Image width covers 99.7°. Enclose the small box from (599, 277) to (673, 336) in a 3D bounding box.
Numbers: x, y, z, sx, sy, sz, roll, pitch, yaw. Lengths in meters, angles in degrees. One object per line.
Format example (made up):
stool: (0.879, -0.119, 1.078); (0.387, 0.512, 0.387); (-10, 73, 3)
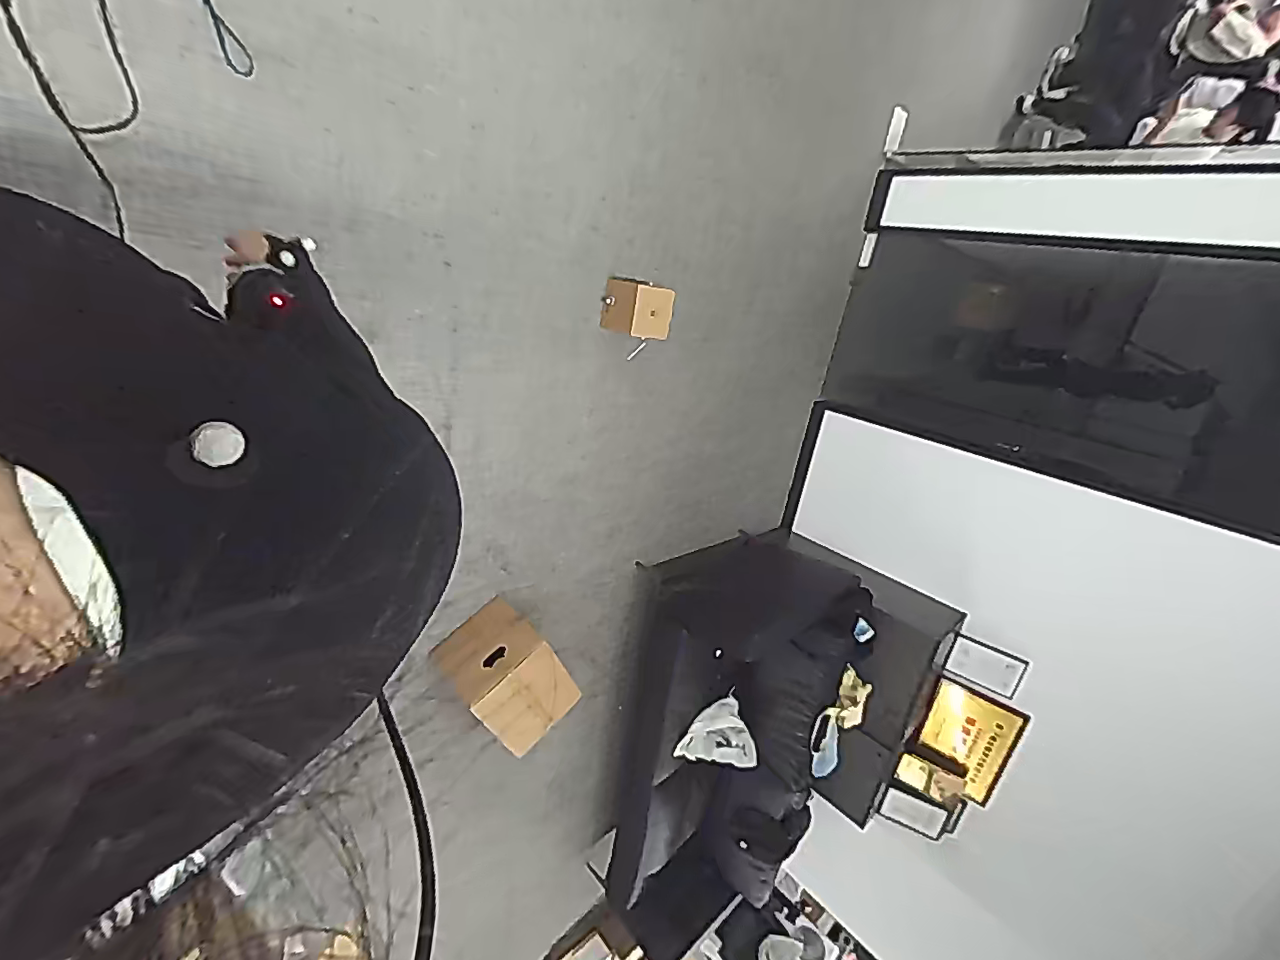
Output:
small box: (-0.015, -0.600, 1.866); (0.179, 0.176, 0.168); (-10, 117, -42)
